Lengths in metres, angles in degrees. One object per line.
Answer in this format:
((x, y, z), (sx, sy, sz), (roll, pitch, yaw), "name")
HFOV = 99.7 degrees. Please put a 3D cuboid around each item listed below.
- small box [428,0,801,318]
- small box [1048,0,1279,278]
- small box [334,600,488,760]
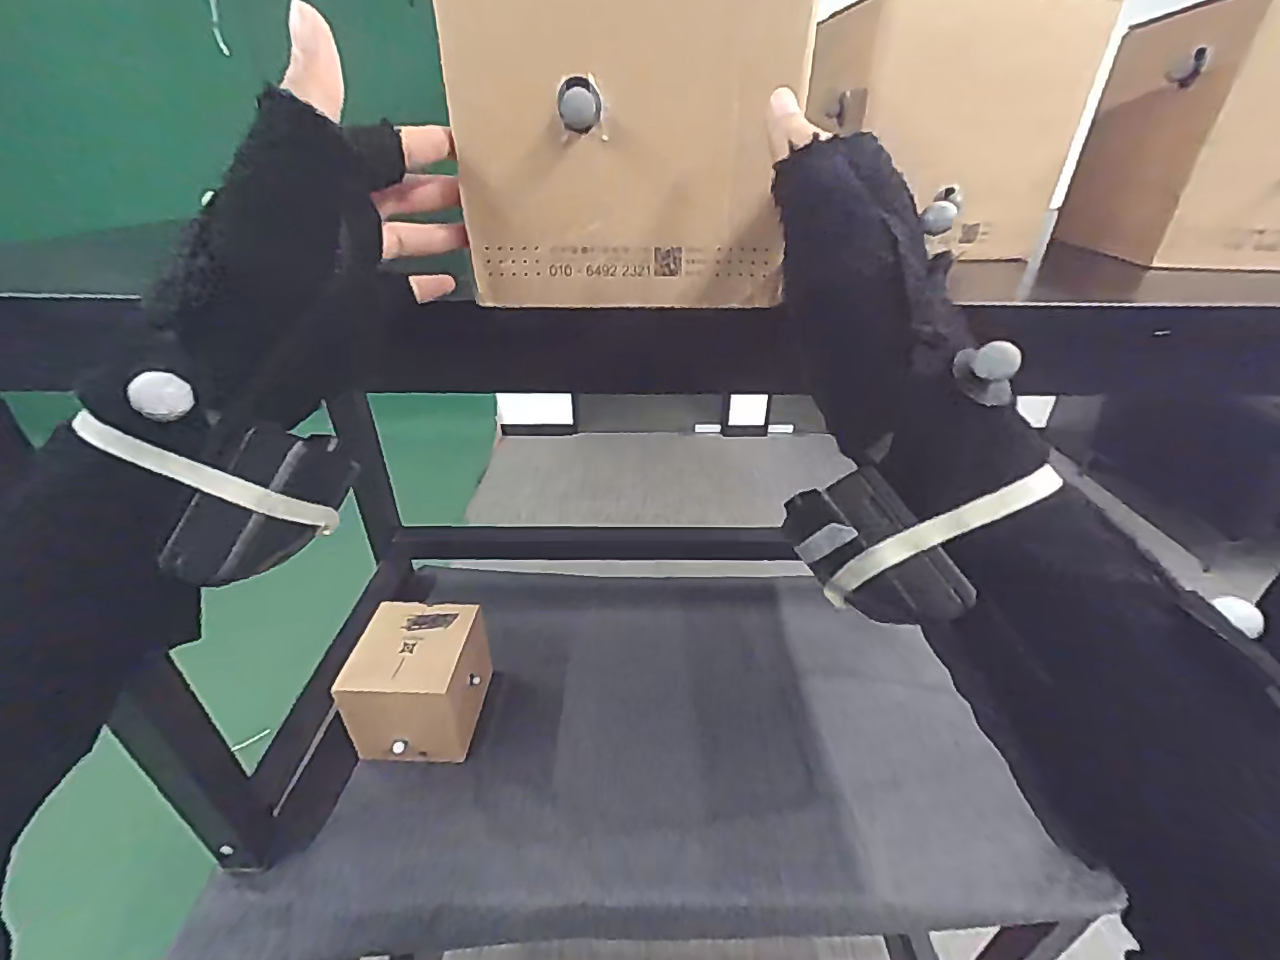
((-0.009, -0.201, 0.328), (0.168, 0.176, 0.179), (0, 31, -2), "small box")
((0.475, -0.261, 0.428), (0.168, 0.176, 0.179), (6, 32, 9), "small box")
((-0.350, 0.317, 0.869), (0.168, 0.176, 0.179), (1, 32, 1), "small box")
